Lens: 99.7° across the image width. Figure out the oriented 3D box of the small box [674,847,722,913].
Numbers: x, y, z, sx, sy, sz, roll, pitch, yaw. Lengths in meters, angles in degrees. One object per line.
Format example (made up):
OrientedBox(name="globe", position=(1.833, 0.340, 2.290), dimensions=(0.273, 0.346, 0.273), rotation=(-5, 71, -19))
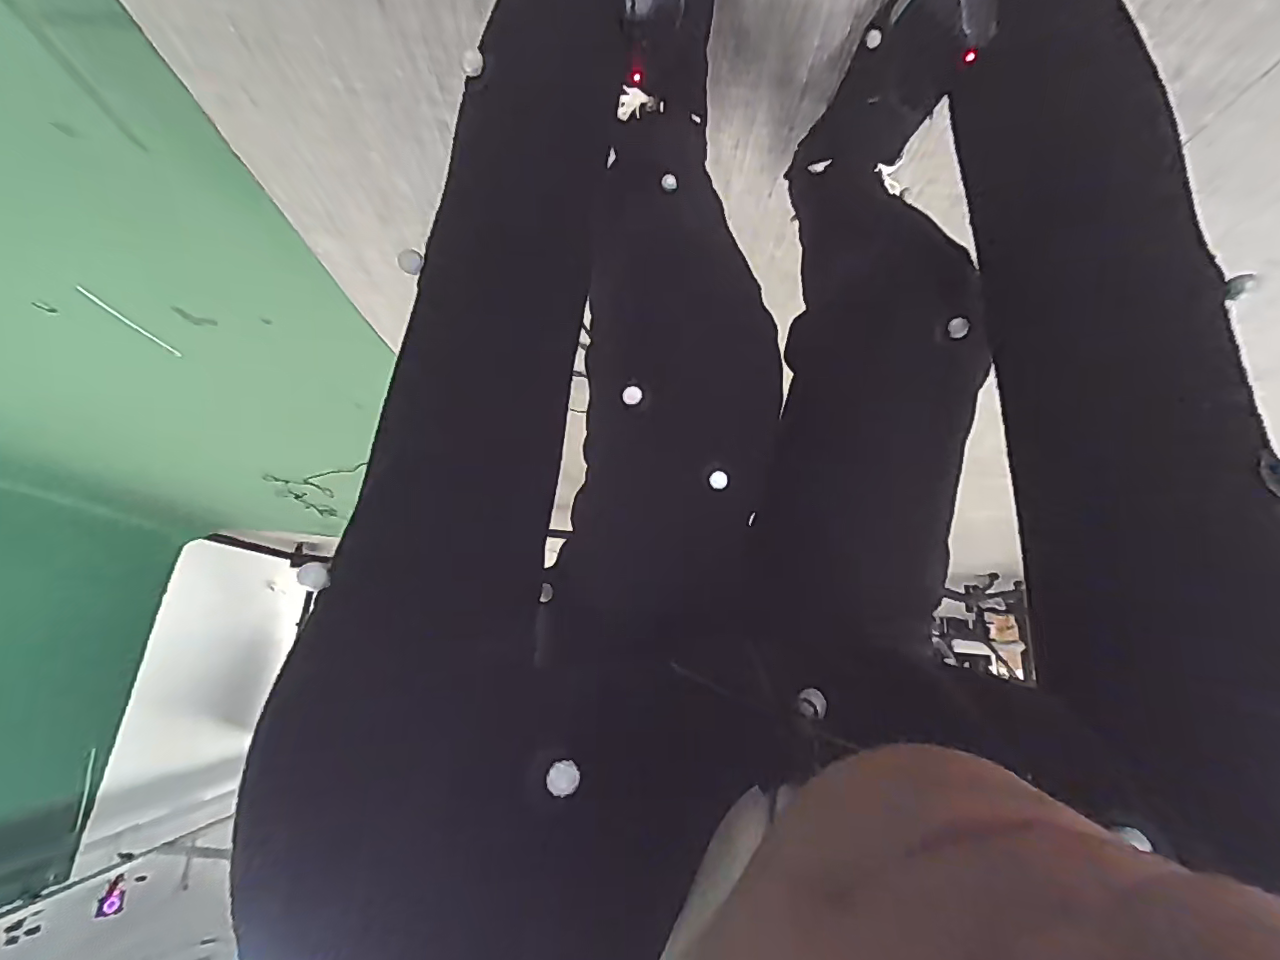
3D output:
OrientedBox(name="small box", position=(0.236, 1.620, 2.198), dimensions=(0.168, 0.176, 0.179), rotation=(6, 164, -3))
